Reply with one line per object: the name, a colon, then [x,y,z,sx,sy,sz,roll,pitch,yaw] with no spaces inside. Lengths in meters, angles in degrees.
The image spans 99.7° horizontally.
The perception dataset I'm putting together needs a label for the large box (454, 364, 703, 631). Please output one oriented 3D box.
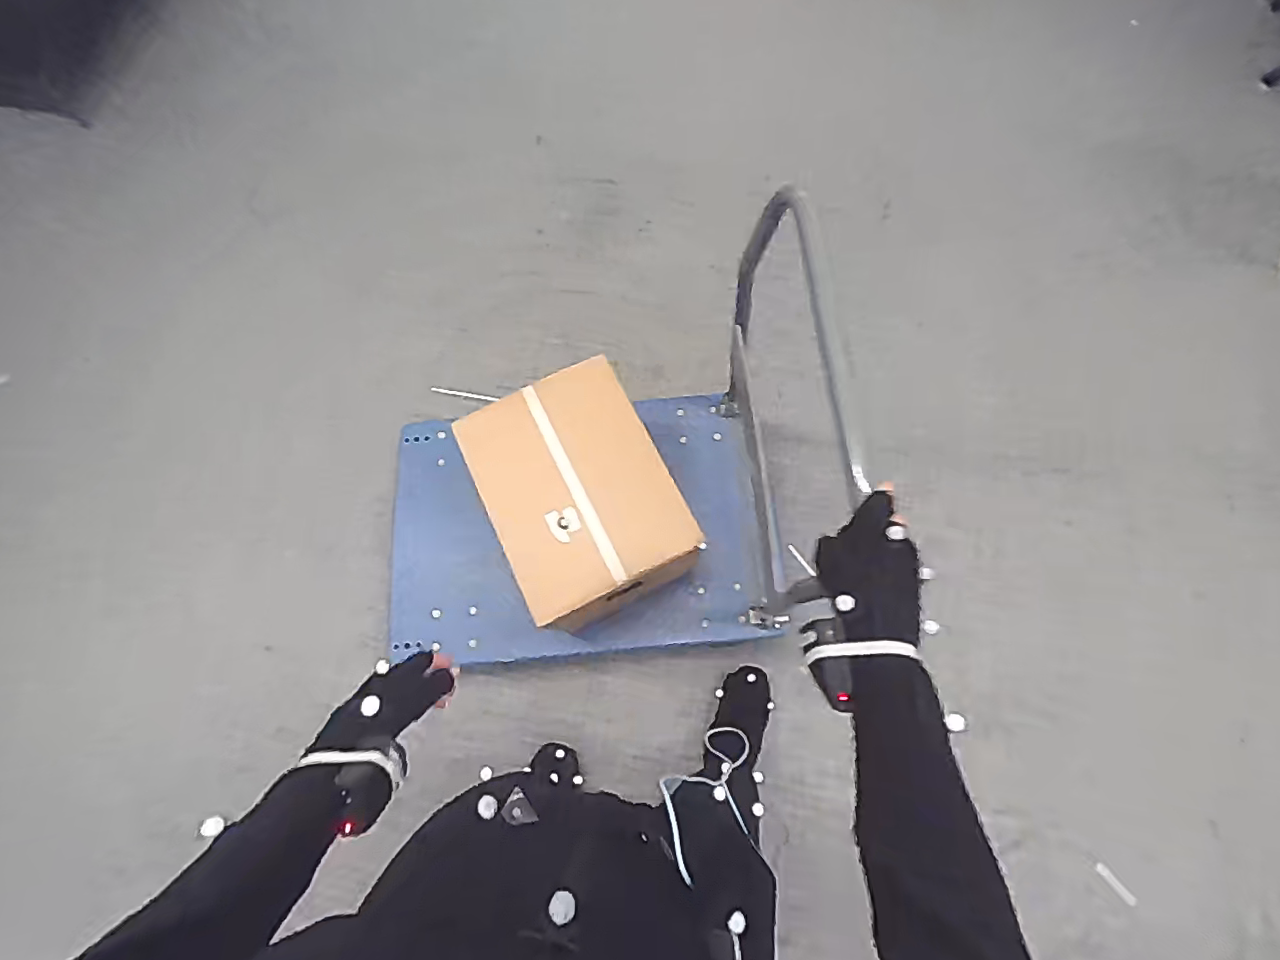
large box: [-0.116,0.052,1.099,0.320,0.320,0.408,-27,74,-6]
